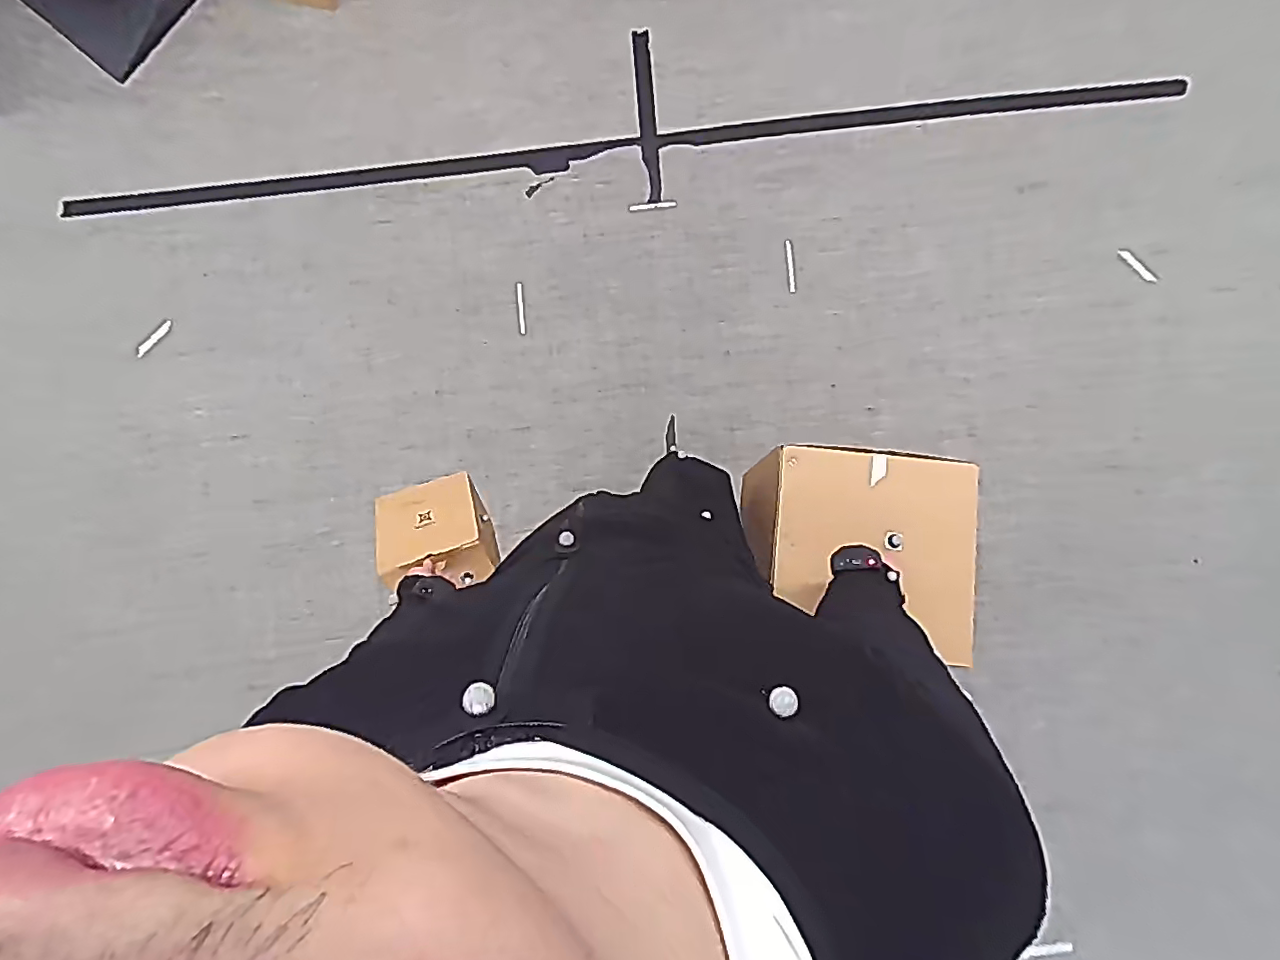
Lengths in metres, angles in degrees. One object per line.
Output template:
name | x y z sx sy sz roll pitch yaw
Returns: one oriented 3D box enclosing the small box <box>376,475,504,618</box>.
small box | -0.356 0.126 0.974 0.168 0.176 0.179 -18 47 -11
